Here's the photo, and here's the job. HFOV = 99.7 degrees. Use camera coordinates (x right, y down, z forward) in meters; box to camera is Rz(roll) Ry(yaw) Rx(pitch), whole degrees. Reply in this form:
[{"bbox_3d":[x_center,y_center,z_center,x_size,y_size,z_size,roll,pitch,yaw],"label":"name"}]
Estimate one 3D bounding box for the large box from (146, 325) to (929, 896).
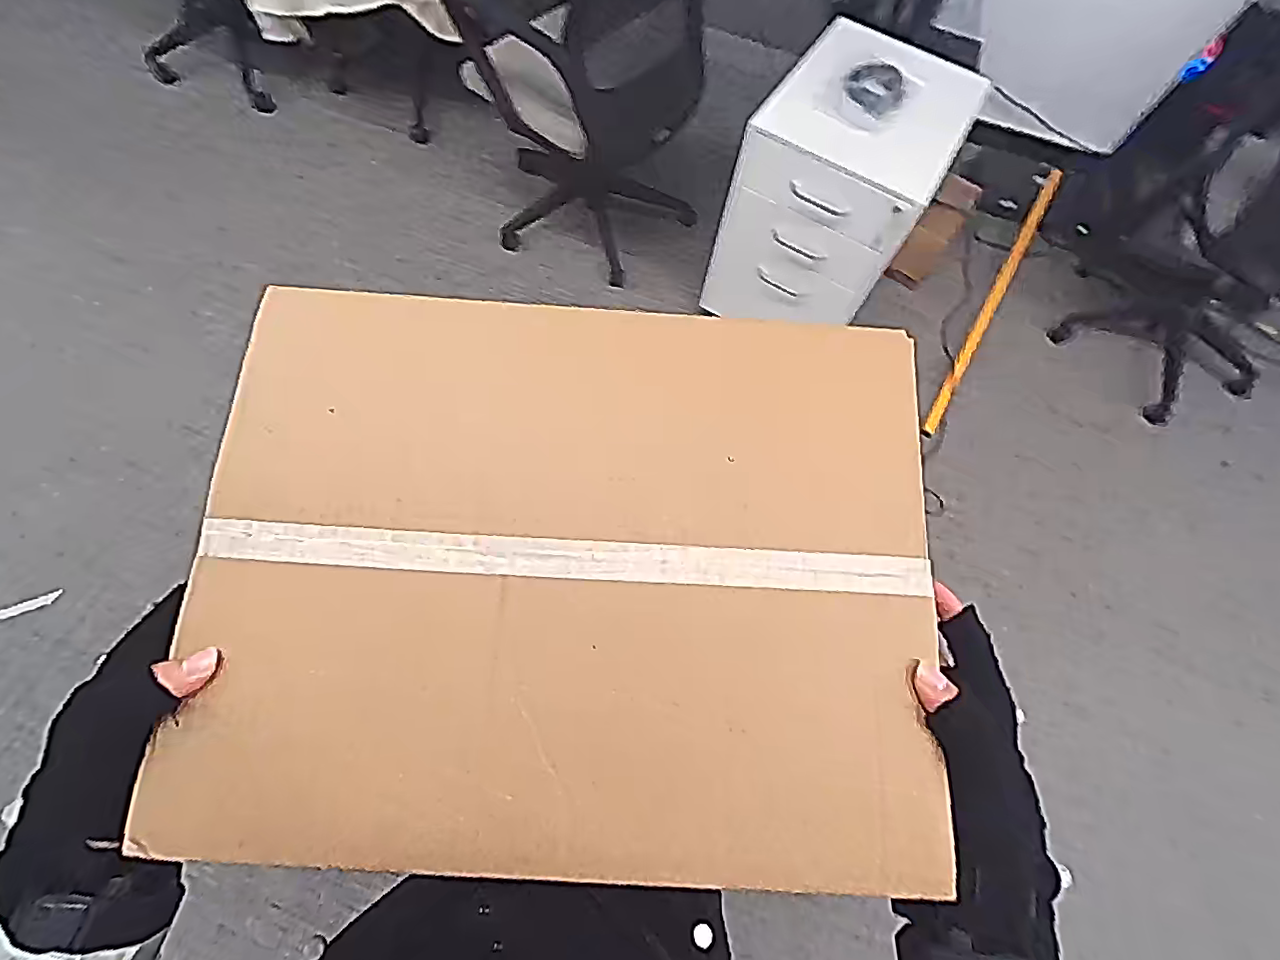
[{"bbox_3d":[-0.047,0.092,0.452,0.408,0.320,0.320,3,75,-1],"label":"large box"}]
